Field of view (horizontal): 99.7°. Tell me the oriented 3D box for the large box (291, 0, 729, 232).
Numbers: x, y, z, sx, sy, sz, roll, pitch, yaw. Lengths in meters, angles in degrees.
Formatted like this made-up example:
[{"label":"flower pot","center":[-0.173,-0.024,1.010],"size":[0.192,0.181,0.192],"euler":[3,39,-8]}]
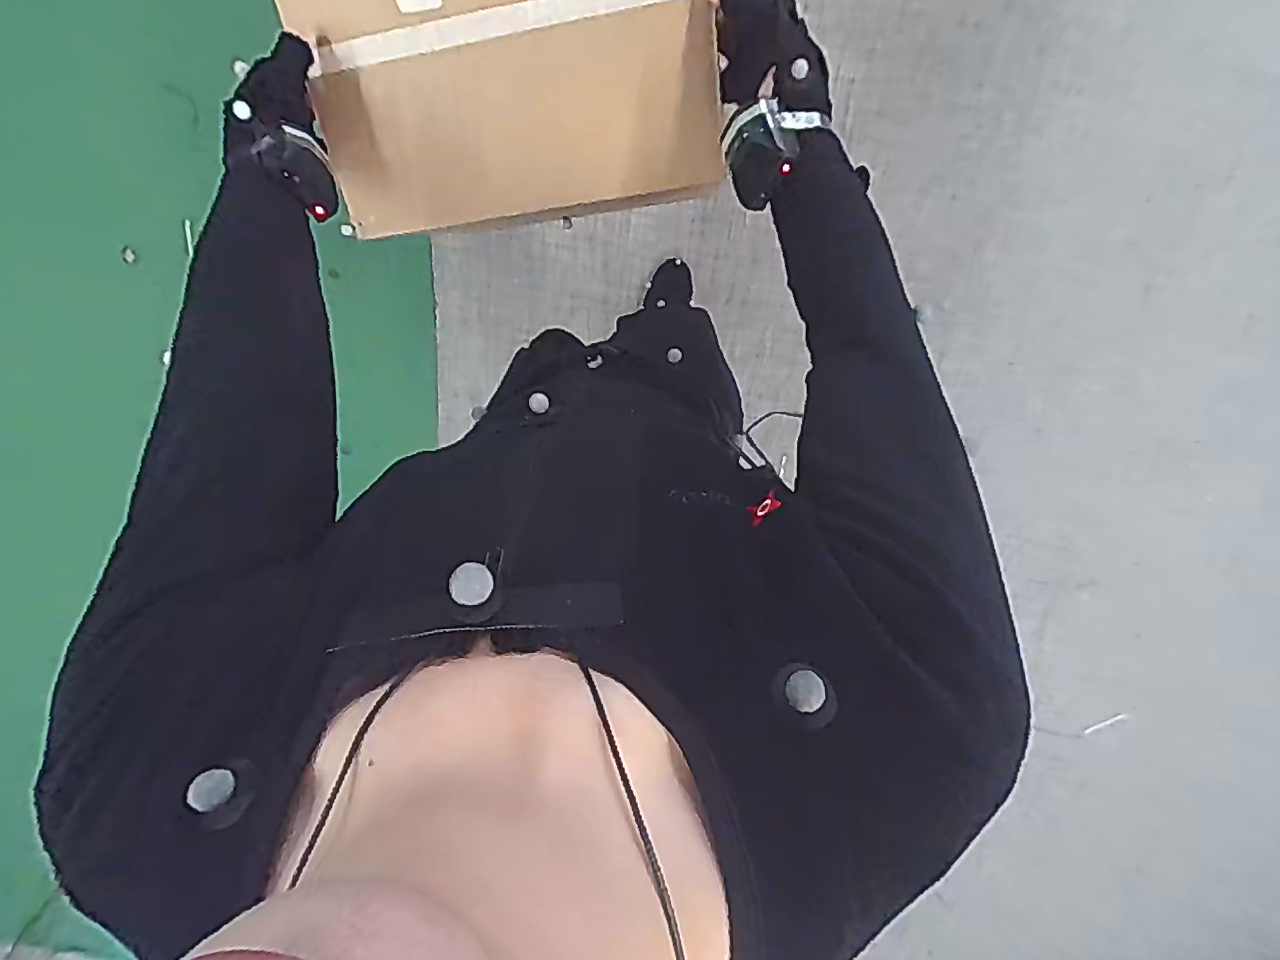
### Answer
[{"label":"large box","center":[-0.114,-0.495,0.636],"size":[0.408,0.320,0.320],"euler":[-5,115,8]}]
